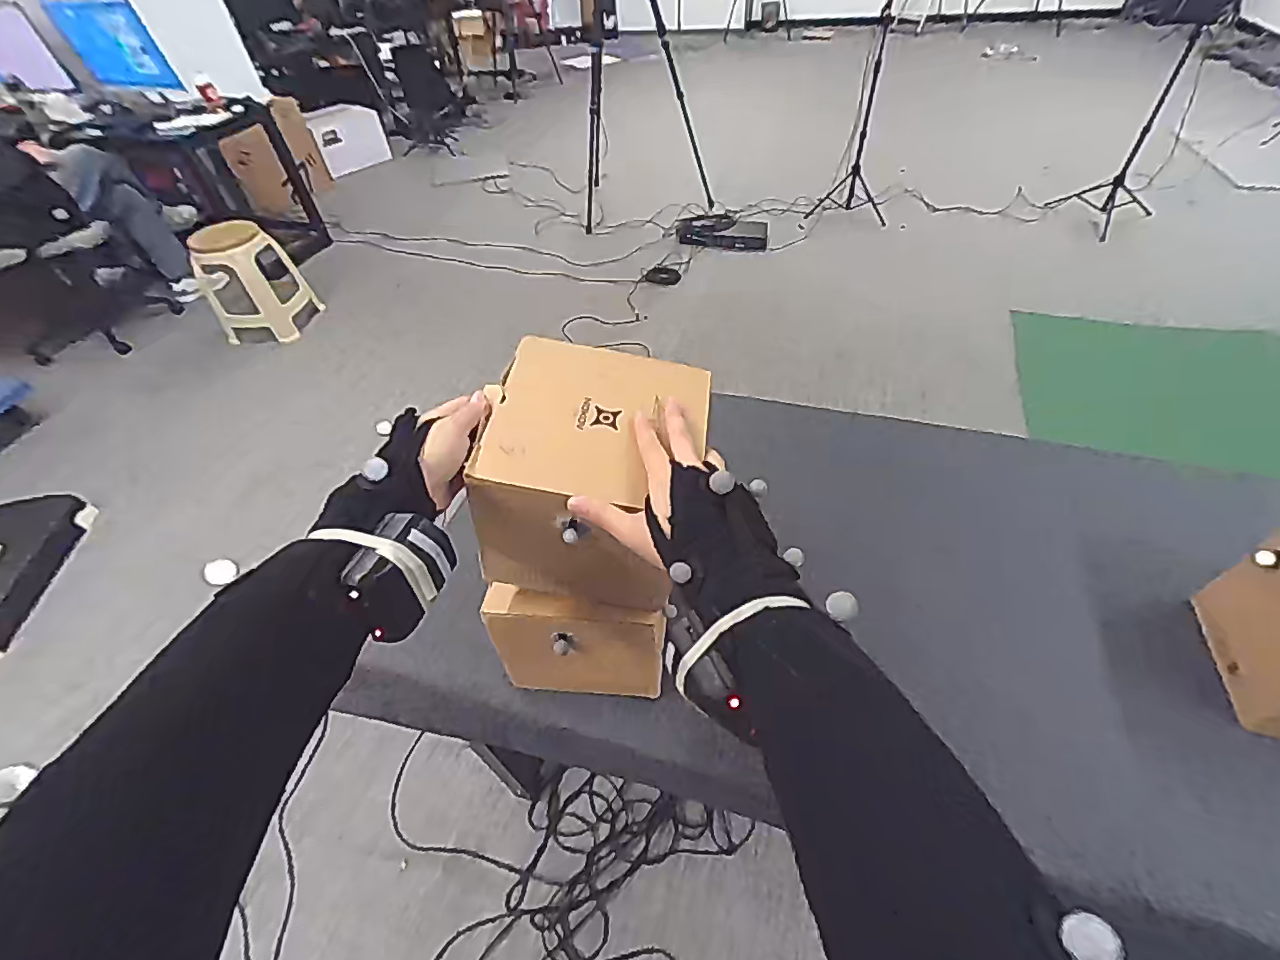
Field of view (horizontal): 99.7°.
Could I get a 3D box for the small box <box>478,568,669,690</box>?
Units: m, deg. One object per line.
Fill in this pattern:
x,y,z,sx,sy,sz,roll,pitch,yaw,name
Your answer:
-0.059,0.128,0.627,0.179,0.176,0.168,2,46,7,small box

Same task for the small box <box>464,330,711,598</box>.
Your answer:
-0.042,-0.007,0.498,0.179,0.176,0.168,11,55,-3,small box
